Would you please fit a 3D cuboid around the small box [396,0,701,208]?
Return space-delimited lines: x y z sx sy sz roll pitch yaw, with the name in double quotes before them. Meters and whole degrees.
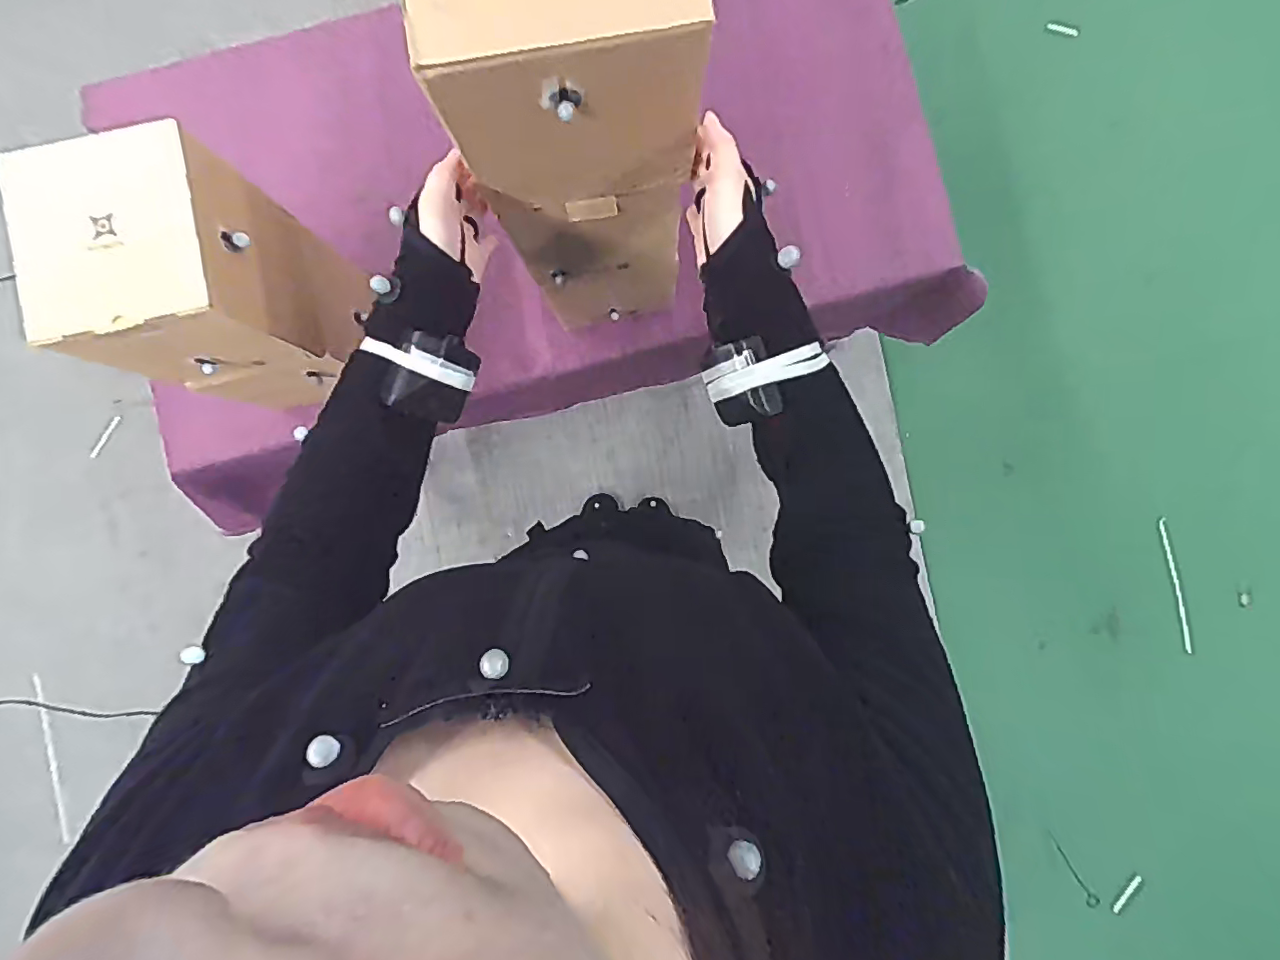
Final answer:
"small box" -0.057 -0.321 0.388 0.179 0.176 0.168 -8 90 1

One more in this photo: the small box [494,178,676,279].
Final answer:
"small box" -0.055 -0.323 0.552 0.168 0.176 0.179 -9 88 2

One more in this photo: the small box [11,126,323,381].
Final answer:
"small box" -0.467 -0.216 0.562 0.168 0.176 0.179 -11 89 1

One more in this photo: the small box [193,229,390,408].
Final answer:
"small box" -0.459 -0.203 0.725 0.179 0.176 0.168 -12 87 1
